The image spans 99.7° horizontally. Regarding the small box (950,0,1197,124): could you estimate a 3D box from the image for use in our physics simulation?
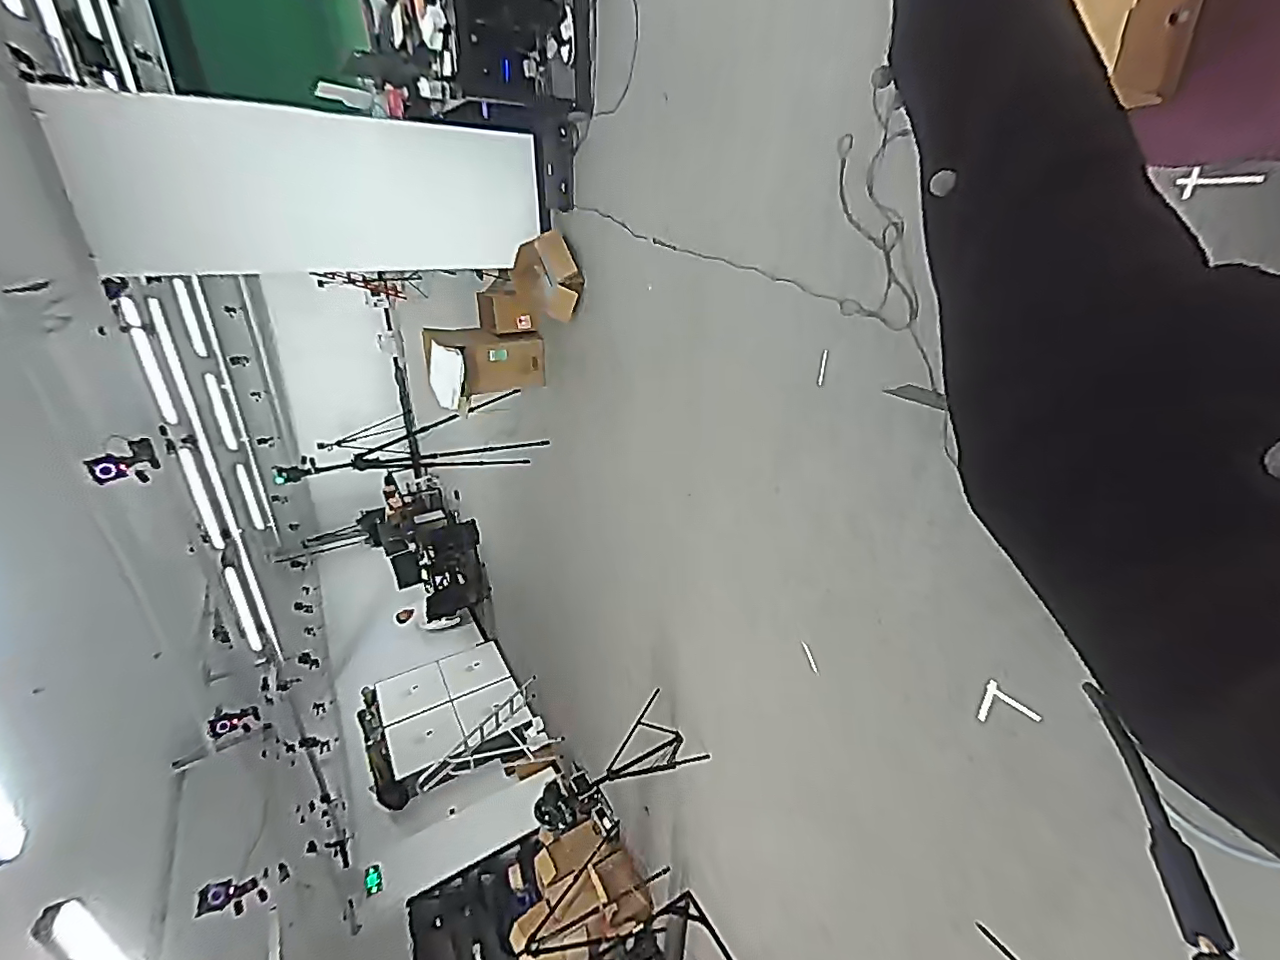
[{"bbox_3d":[0.514,-0.540,0.641,0.179,0.176,0.168,30,127,52],"label":"small box"}]
